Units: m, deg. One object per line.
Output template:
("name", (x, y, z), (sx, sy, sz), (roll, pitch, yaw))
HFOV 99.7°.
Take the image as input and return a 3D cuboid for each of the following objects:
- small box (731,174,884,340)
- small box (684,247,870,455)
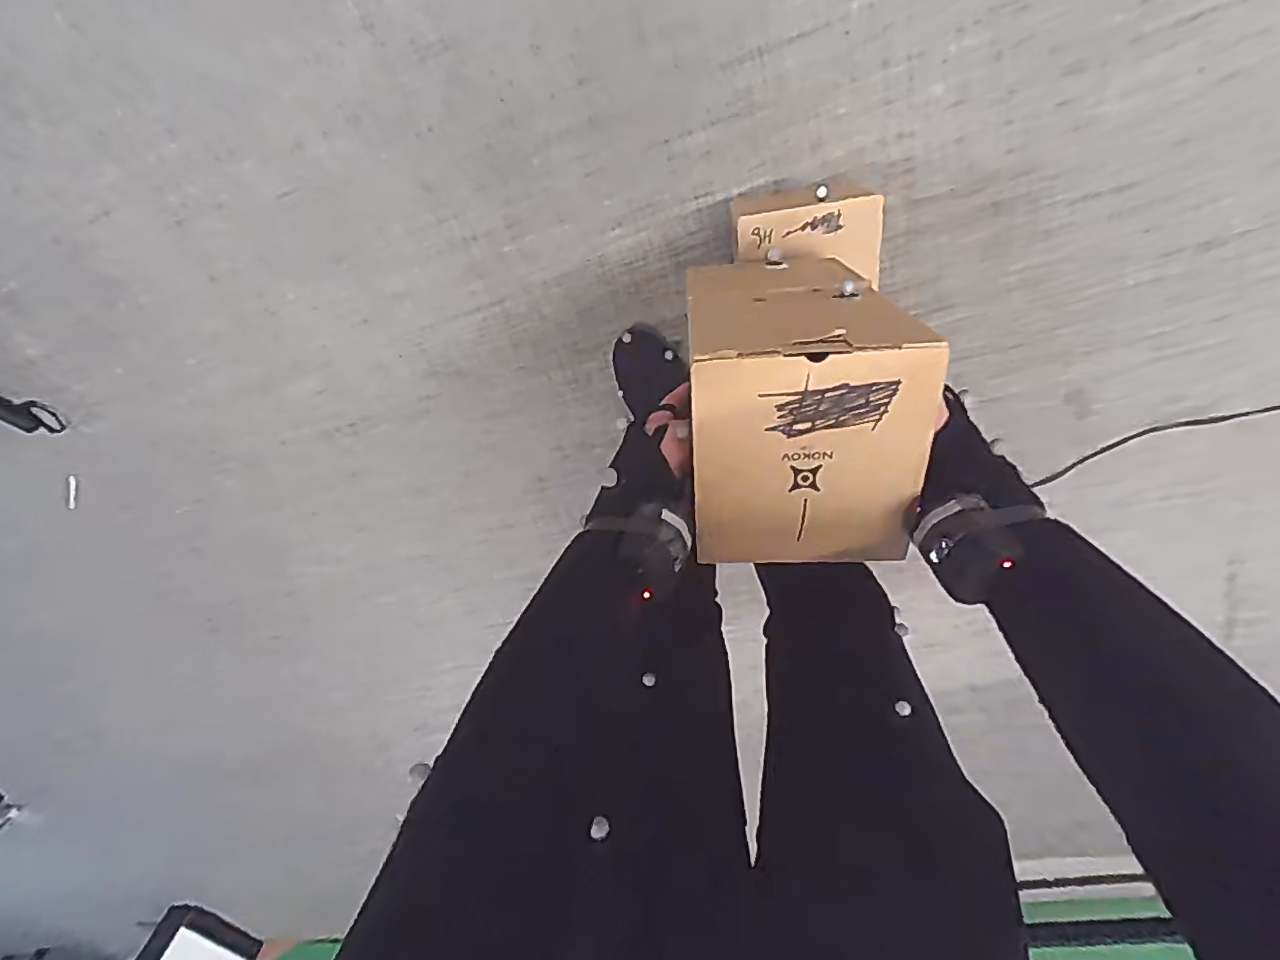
("small box", (0.212, -0.292, 0.725), (0.168, 0.176, 0.179), (-5, 124, 10))
("small box", (0.137, -0.144, 0.593), (0.168, 0.176, 0.179), (-3, 120, 8))
